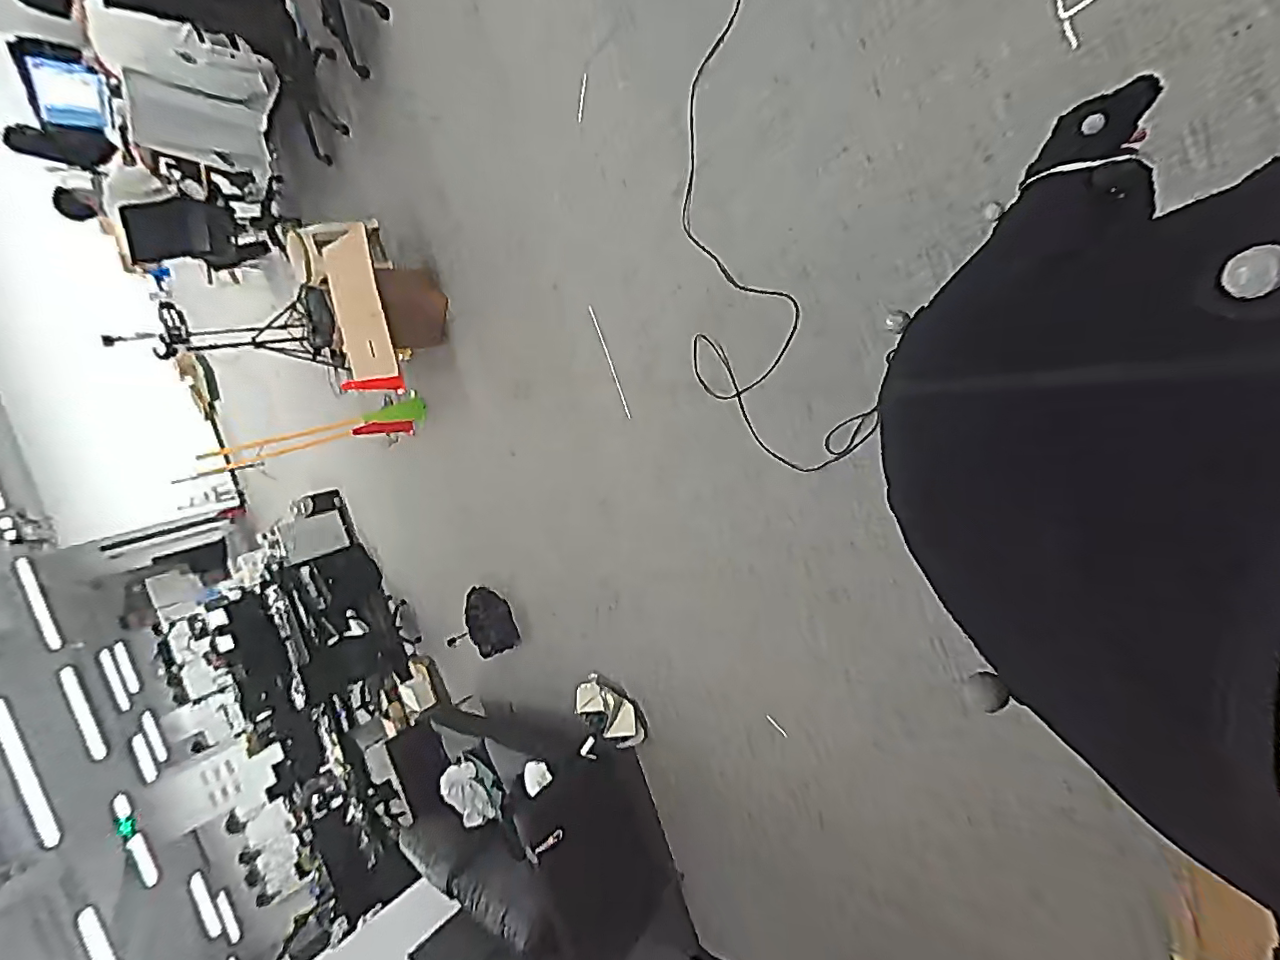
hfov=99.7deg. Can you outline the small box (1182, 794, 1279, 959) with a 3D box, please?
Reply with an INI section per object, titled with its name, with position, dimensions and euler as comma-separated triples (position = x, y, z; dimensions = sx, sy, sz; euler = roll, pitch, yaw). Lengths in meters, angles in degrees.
[small box]
position = 0.954, 0.618, 0.818
dimensions = 0.168, 0.176, 0.179
euler = -17, 94, 48
